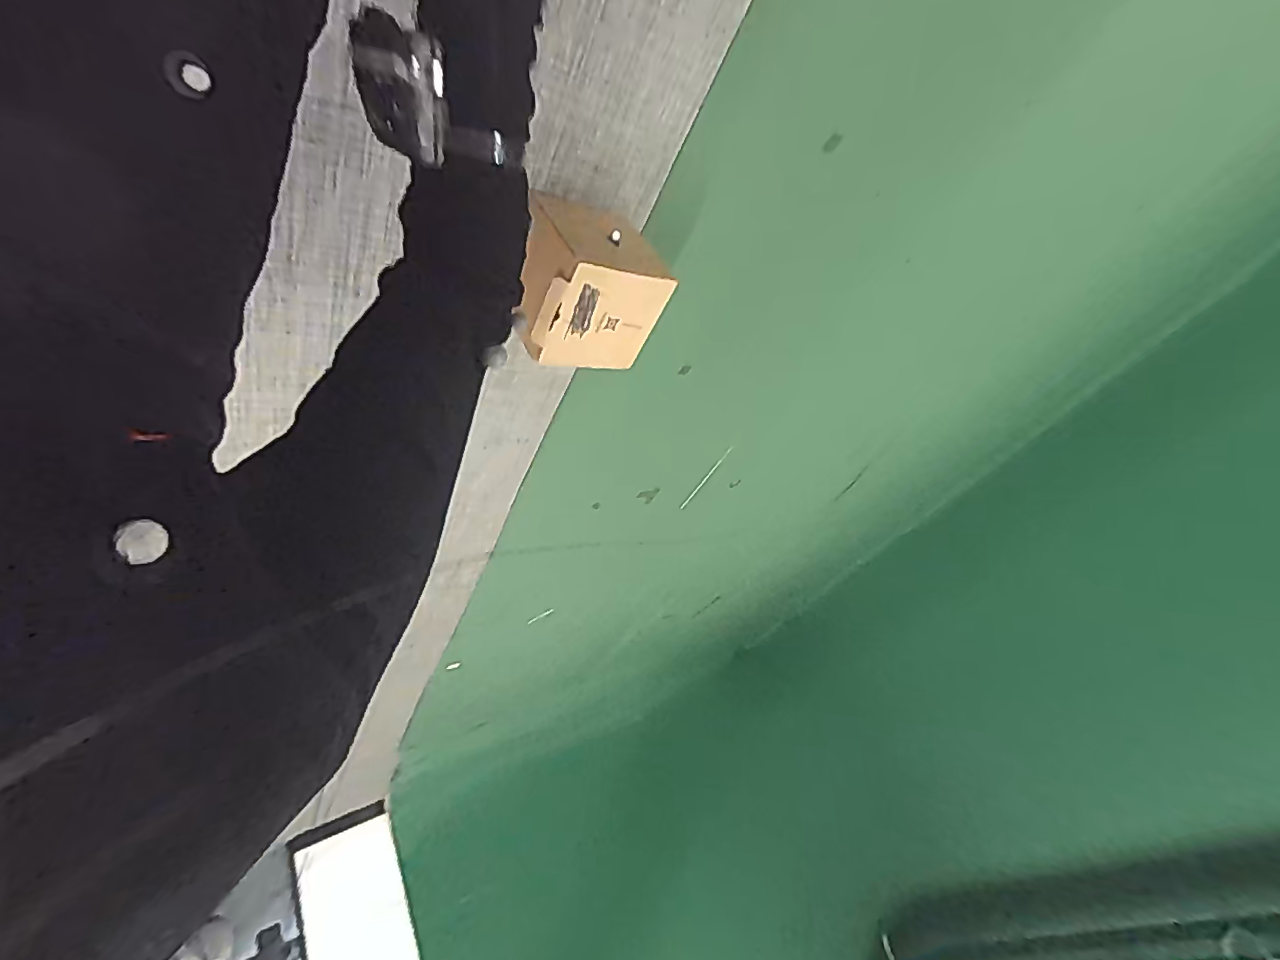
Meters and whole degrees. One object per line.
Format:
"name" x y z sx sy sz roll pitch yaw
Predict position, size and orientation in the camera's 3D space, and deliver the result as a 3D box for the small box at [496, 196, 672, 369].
"small box" -0.092 -0.287 0.800 0.179 0.176 0.168 -5 144 -40
